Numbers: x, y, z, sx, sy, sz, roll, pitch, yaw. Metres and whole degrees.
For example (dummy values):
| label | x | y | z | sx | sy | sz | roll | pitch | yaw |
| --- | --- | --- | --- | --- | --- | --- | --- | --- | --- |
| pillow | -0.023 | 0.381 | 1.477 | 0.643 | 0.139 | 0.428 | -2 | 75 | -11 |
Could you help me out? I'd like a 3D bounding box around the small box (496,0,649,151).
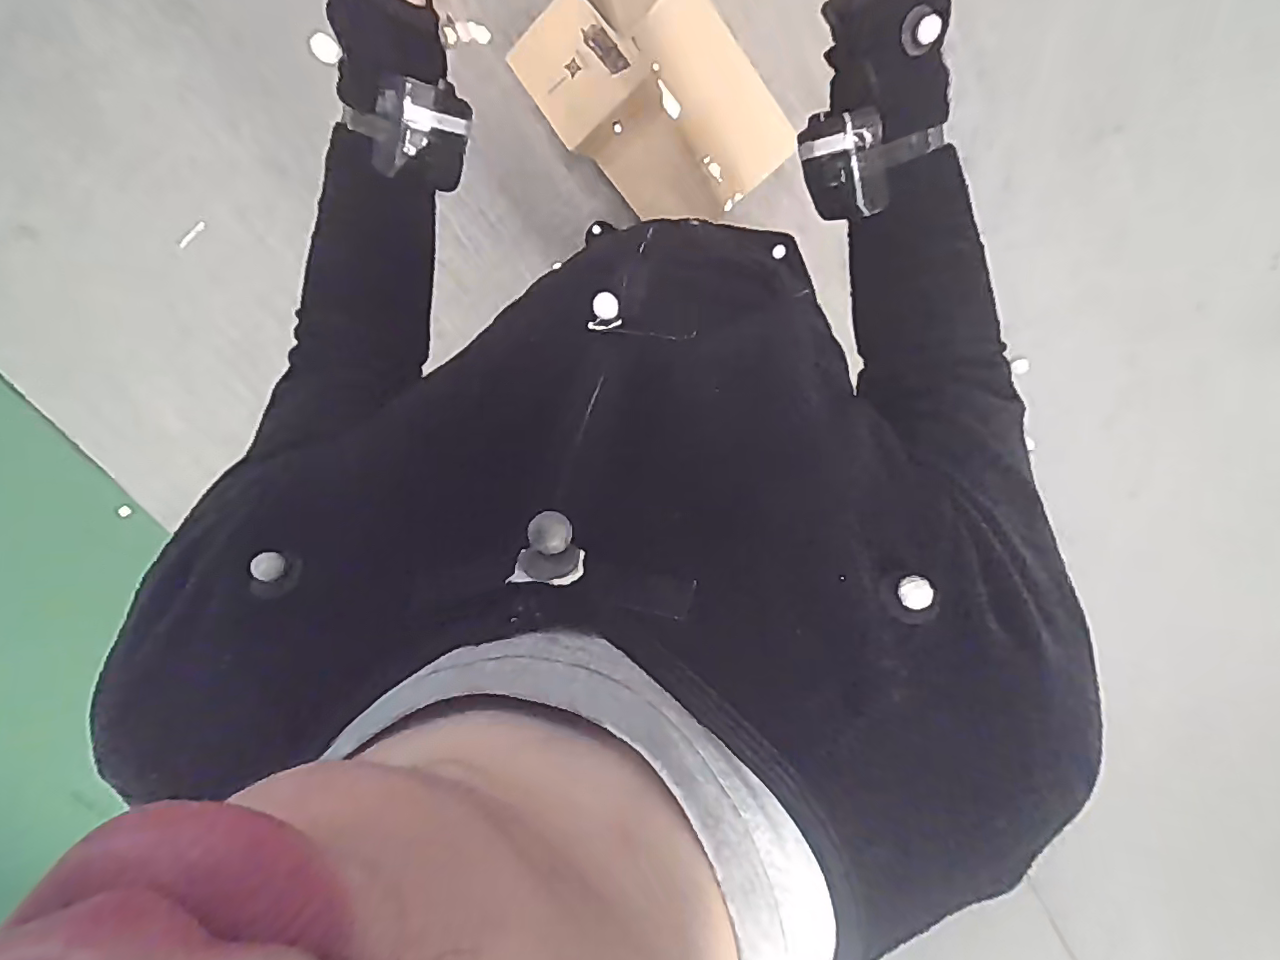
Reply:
| label | x | y | z | sx | sy | sz | roll | pitch | yaw |
| --- | --- | --- | --- | --- | --- | --- | --- | --- | --- |
| small box | -0.098 | -0.680 | 0.890 | 0.179 | 0.176 | 0.168 | -31 | 108 | 21 |
